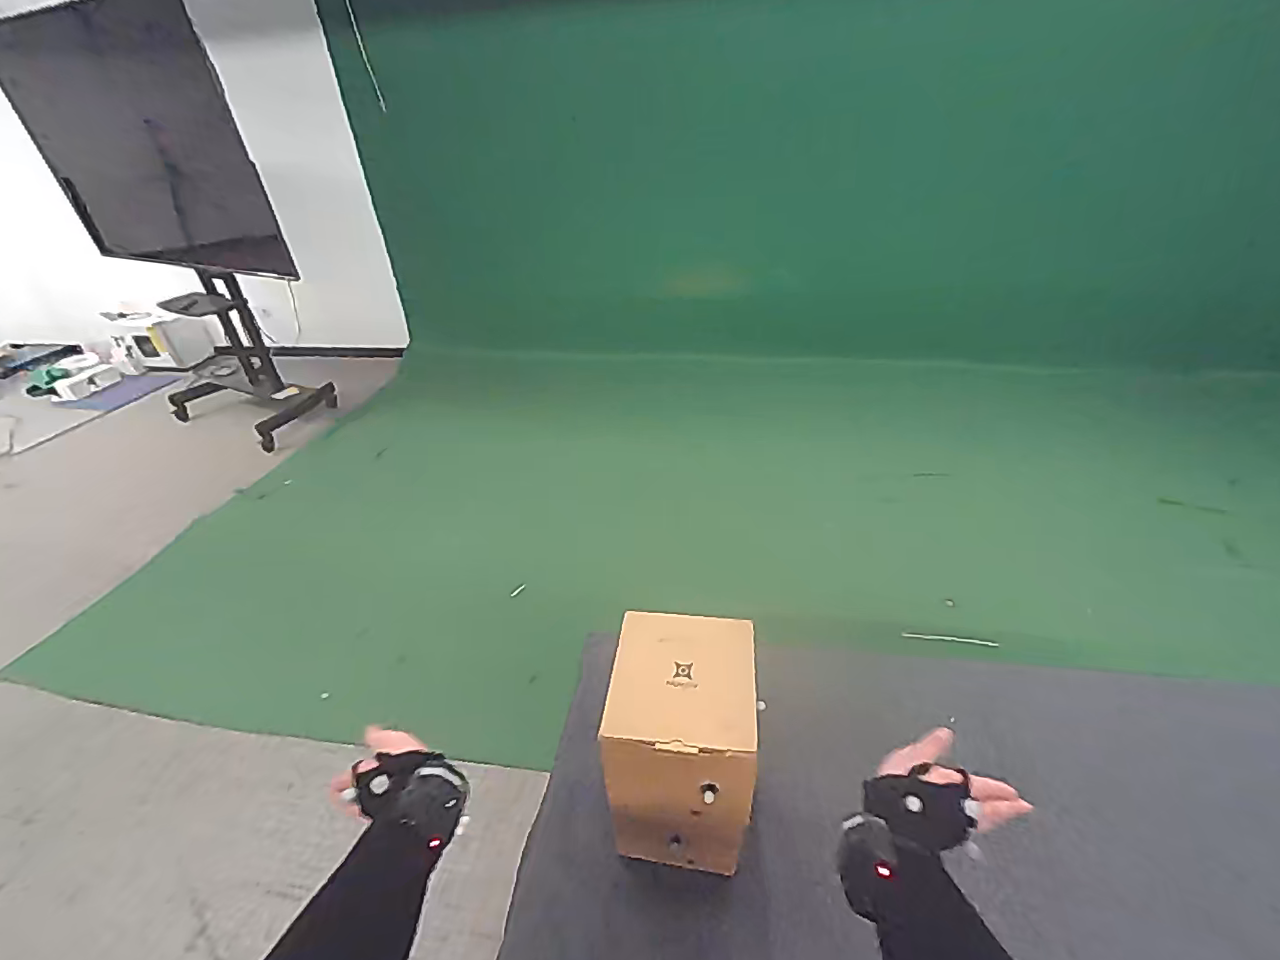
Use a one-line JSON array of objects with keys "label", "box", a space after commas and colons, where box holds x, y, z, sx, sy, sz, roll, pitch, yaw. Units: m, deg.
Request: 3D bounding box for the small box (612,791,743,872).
[{"label": "small box", "box": [0.064, 0.419, 0.768, 0.168, 0.176, 0.179, 4, 35, 9]}]

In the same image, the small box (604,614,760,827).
[{"label": "small box", "box": [0.057, 0.293, 0.665, 0.168, 0.176, 0.179, 3, 34, 7]}]
